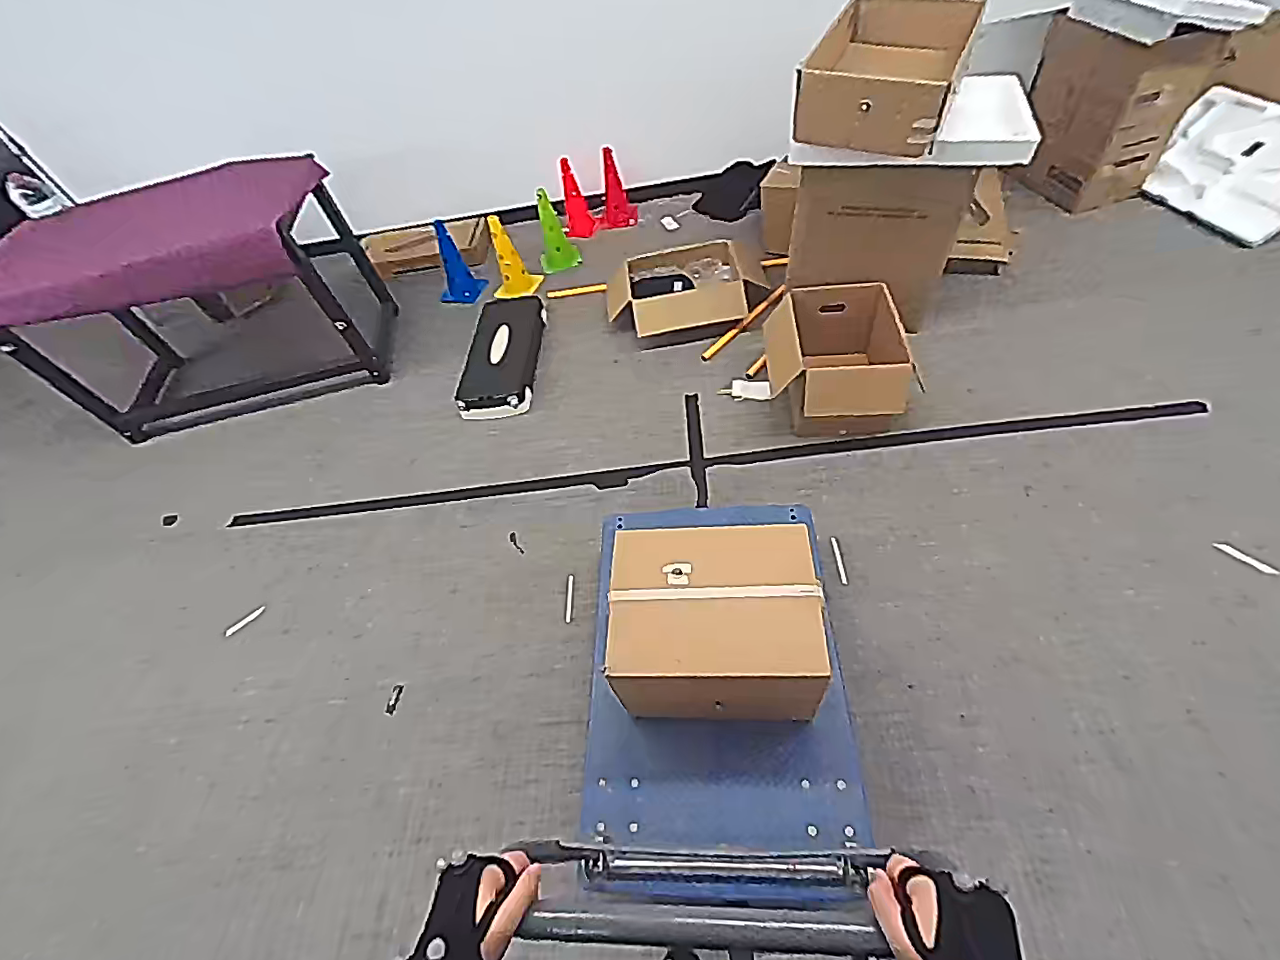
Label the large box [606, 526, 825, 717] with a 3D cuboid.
[{"bbox_3d":[0.161,0.322,1.185,0.408,0.320,0.320,-4,52,9],"label":"large box"}]
